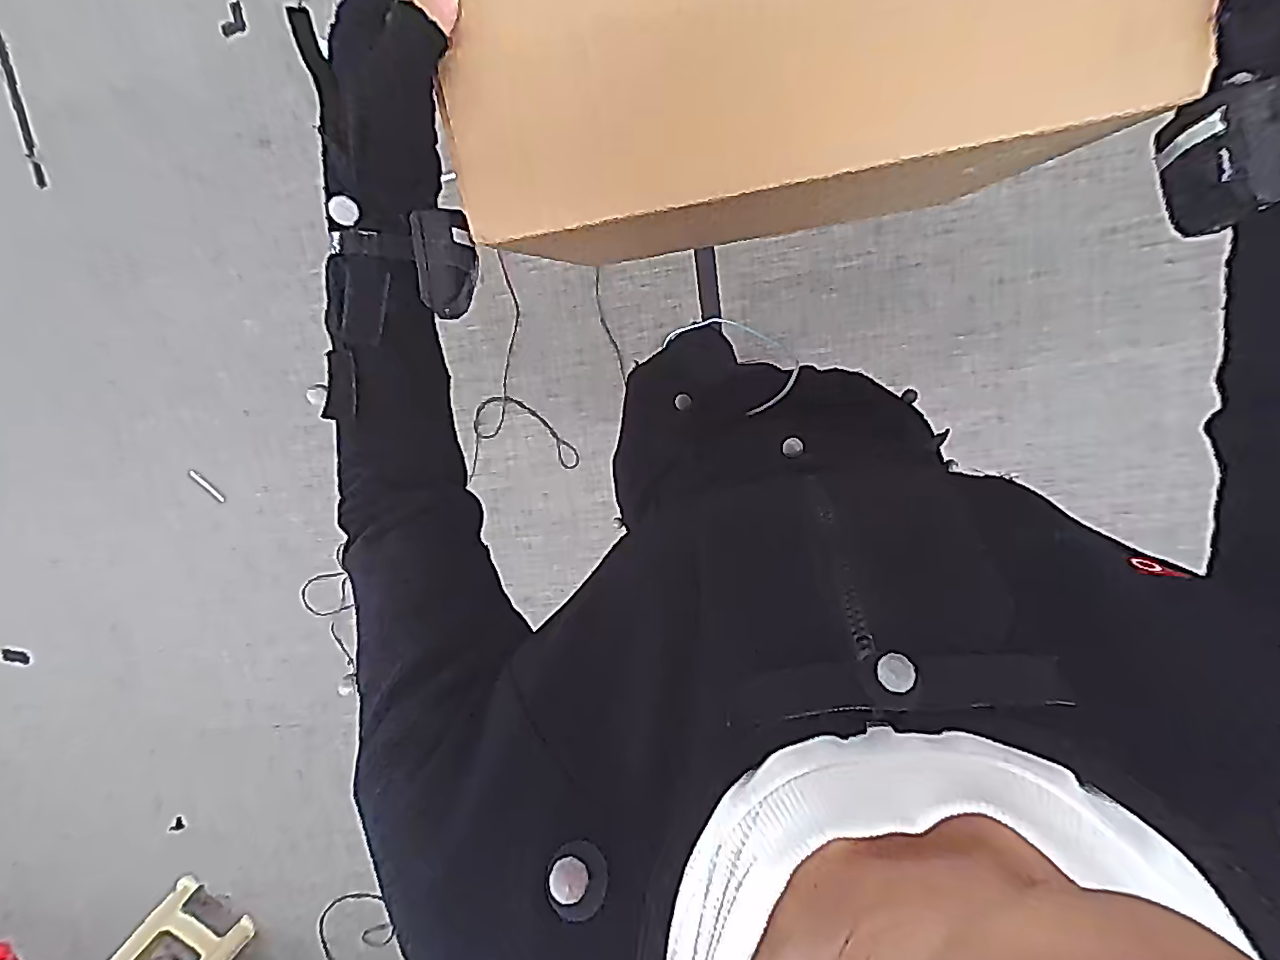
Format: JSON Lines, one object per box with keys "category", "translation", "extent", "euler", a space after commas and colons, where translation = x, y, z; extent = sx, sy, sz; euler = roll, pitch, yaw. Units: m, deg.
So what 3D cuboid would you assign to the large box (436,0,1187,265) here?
{"category": "large box", "translation": [0.085, -0.376, 0.420], "extent": [0.408, 0.320, 0.320], "euler": [-7, 108, 9]}
